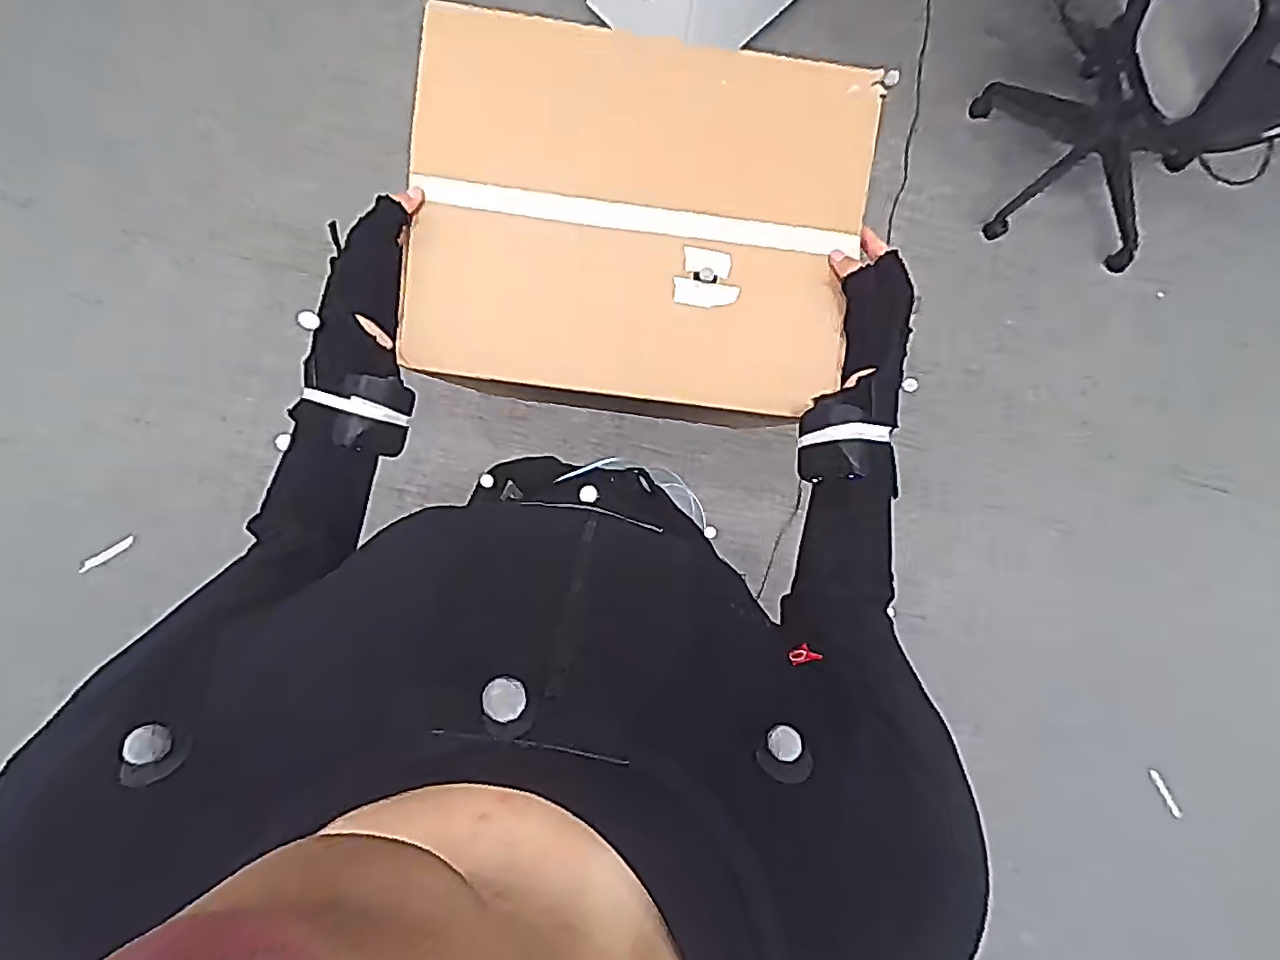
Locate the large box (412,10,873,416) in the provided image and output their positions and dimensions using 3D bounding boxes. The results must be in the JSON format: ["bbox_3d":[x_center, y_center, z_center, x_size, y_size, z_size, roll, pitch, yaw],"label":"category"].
[{"bbox_3d":[-0.007,-0.255,0.644,0.408,0.320,0.320,7,95,-3],"label":"large box"}]
